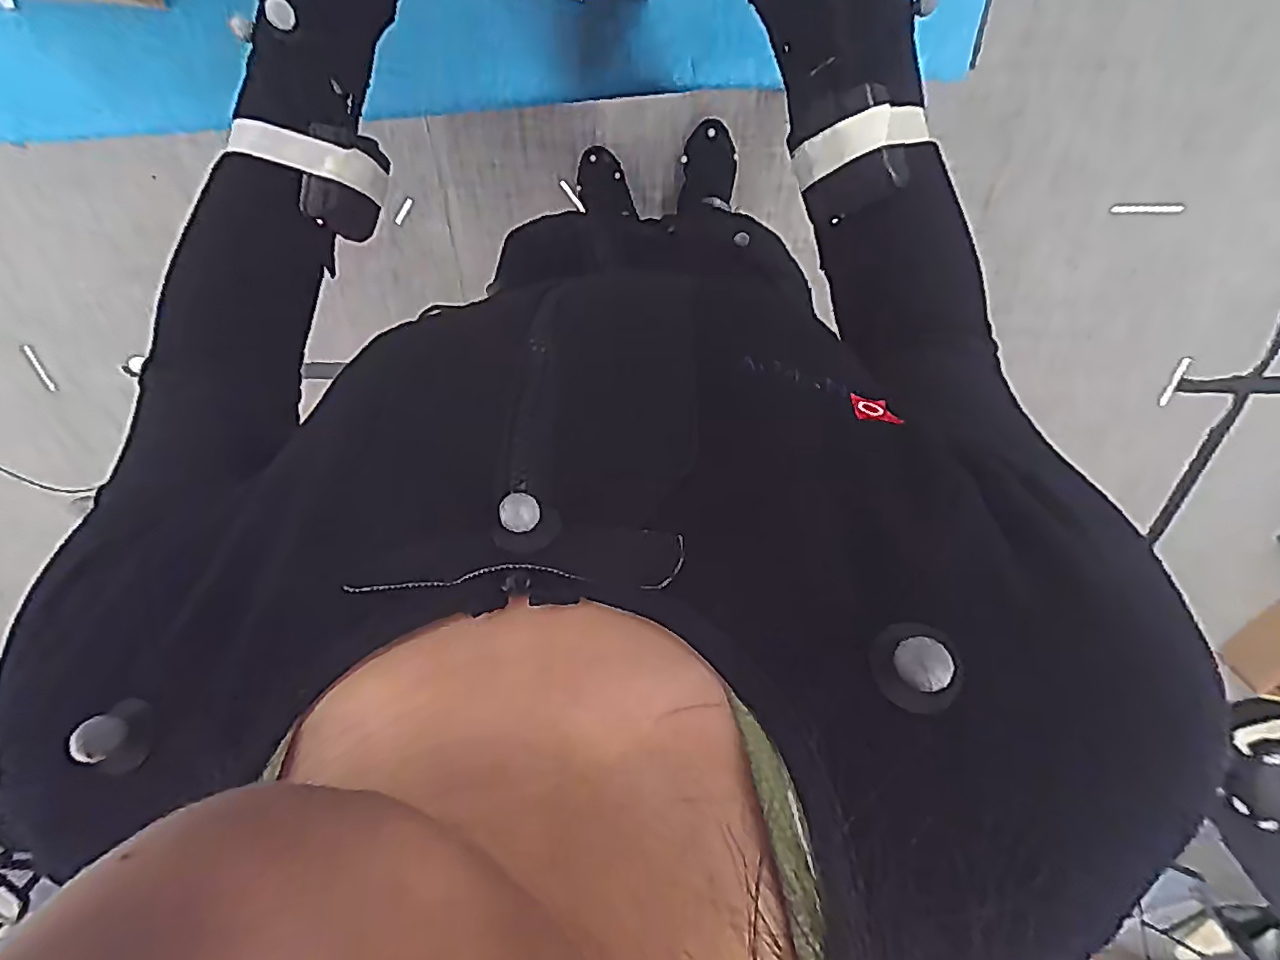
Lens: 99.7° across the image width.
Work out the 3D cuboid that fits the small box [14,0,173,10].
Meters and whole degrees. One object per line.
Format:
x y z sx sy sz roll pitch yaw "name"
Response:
-0.525 -0.483 0.404 0.168 0.176 0.179 4 124 0 "small box"
